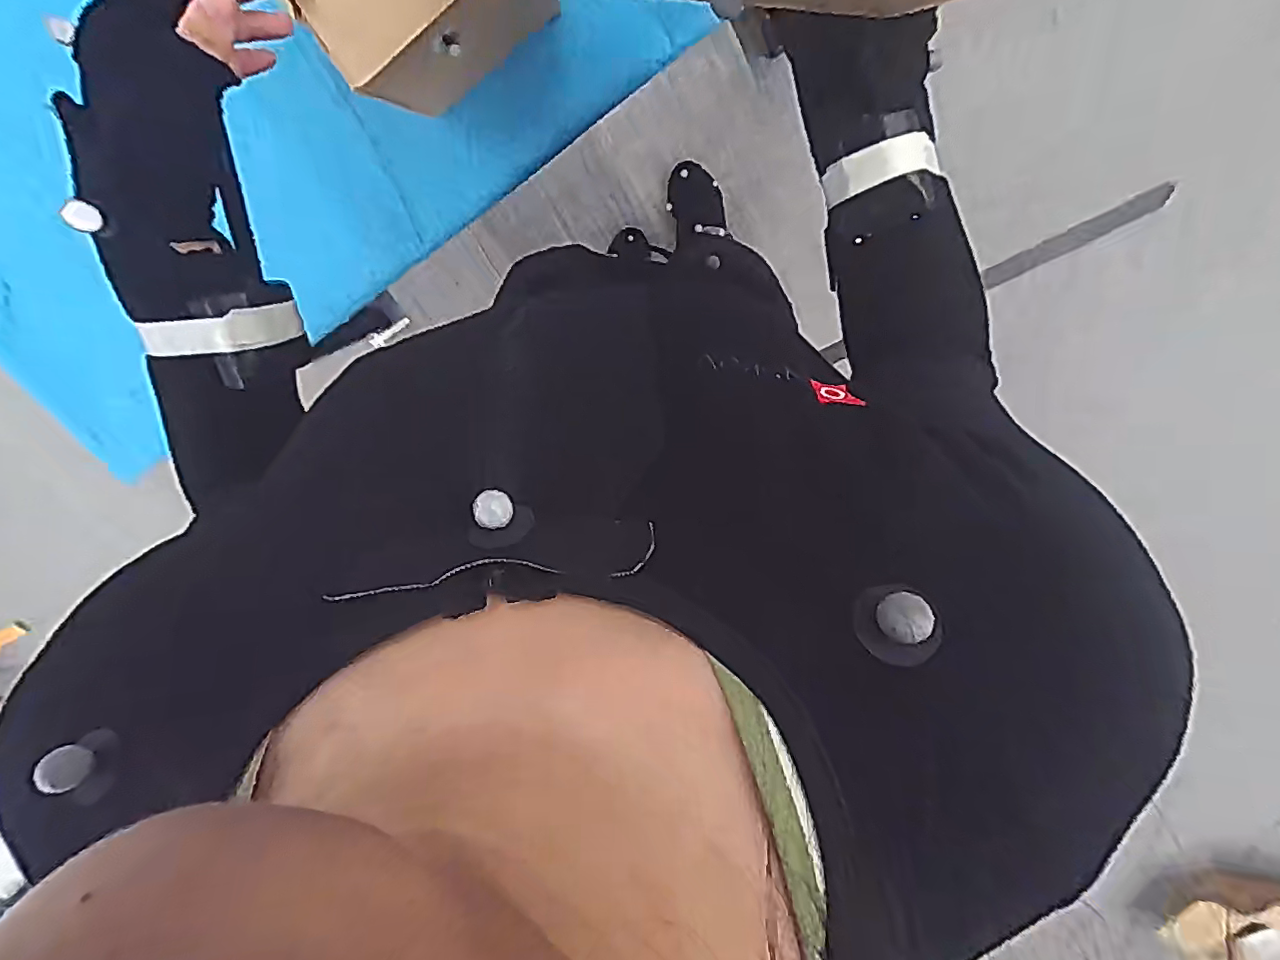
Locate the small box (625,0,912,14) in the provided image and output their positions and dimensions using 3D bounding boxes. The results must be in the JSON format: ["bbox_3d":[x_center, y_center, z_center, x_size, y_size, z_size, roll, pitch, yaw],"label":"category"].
[{"bbox_3d":[0.062,-0.291,0.202,0.179,0.176,0.168,5,127,2],"label":"small box"}]

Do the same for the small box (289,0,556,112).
[{"bbox_3d":[-0.194,-0.451,0.458,0.179,0.176,0.168,-27,113,18],"label":"small box"}]
